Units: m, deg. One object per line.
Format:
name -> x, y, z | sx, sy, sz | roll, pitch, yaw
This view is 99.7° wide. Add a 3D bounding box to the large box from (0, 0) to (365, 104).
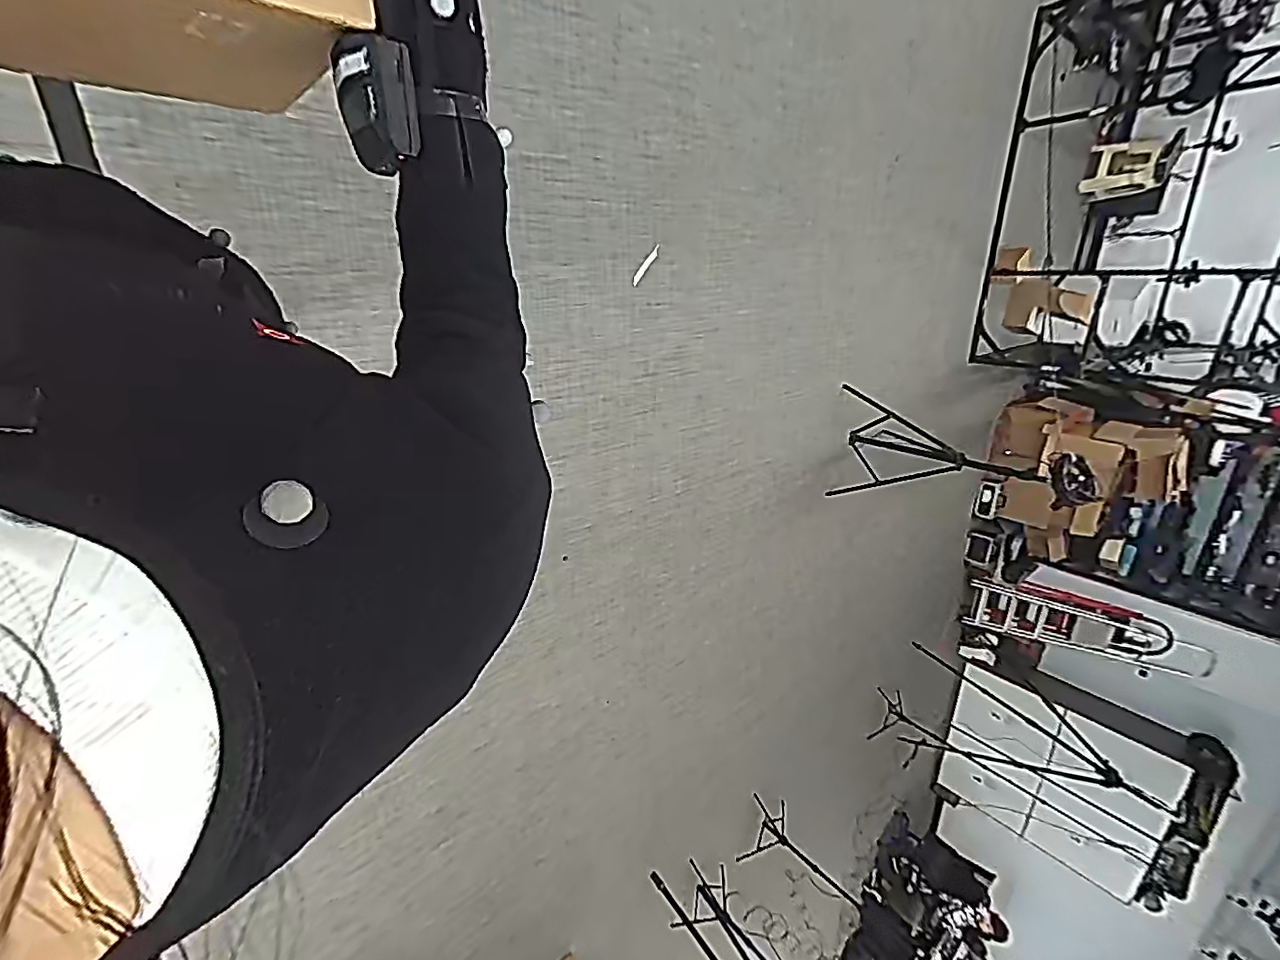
large box -> -0.408, -0.411, 0.248 | 0.408, 0.320, 0.320 | -17, 120, -38
